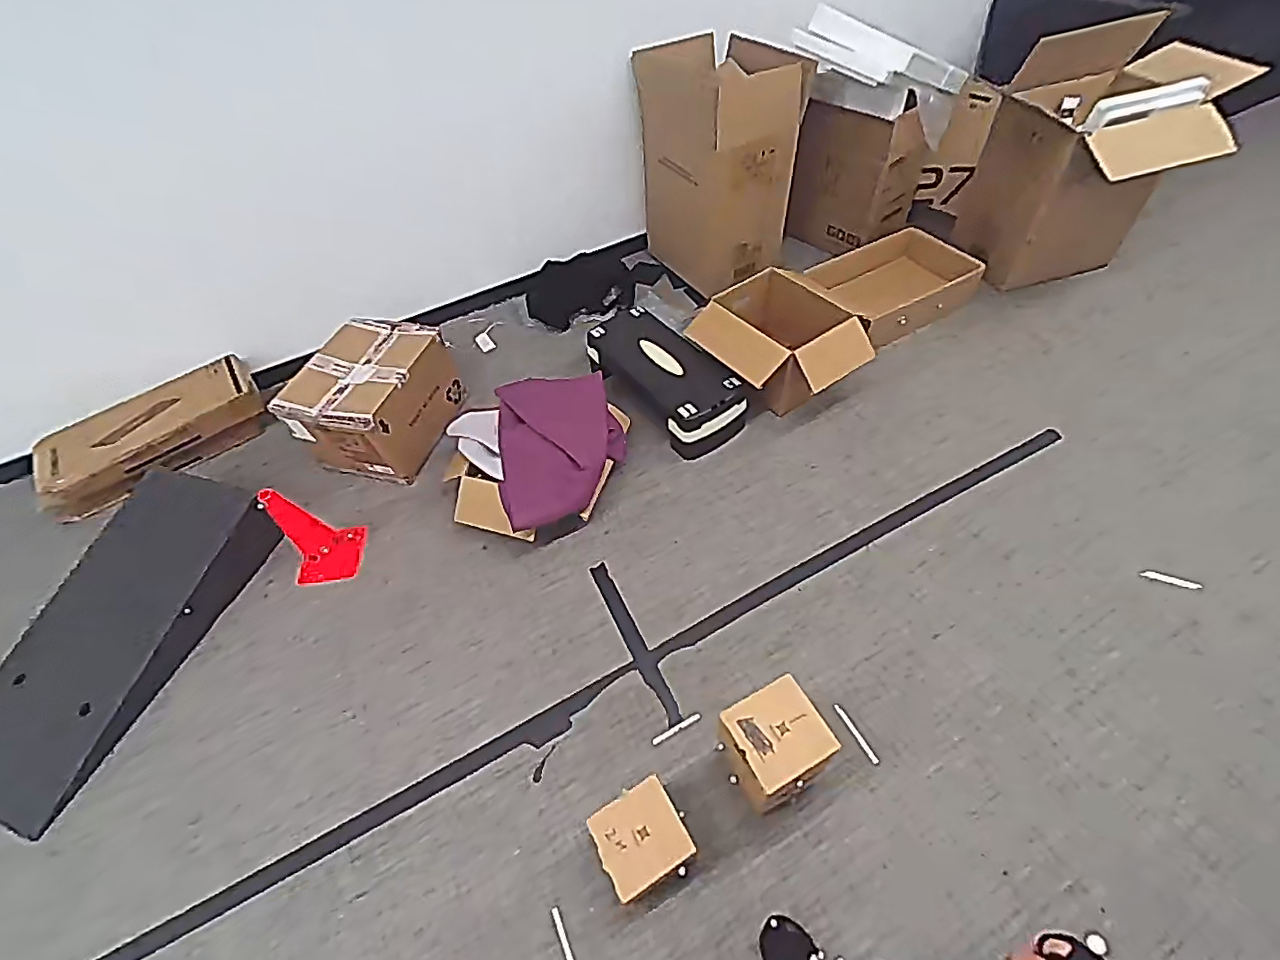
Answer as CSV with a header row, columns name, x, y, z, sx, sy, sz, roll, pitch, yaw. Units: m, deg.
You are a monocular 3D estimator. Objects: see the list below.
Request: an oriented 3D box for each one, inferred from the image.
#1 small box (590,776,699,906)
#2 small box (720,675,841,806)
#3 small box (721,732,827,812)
name,x,y,z,sx,sy,sz,roll,pitch,yaw
small box,0.013,0.780,1.172,0.179,0.176,0.168,-28,54,-14
small box,0.282,0.542,1.118,0.179,0.176,0.168,-24,54,-13
small box,0.301,0.642,1.250,0.168,0.176,0.179,-24,54,-12
